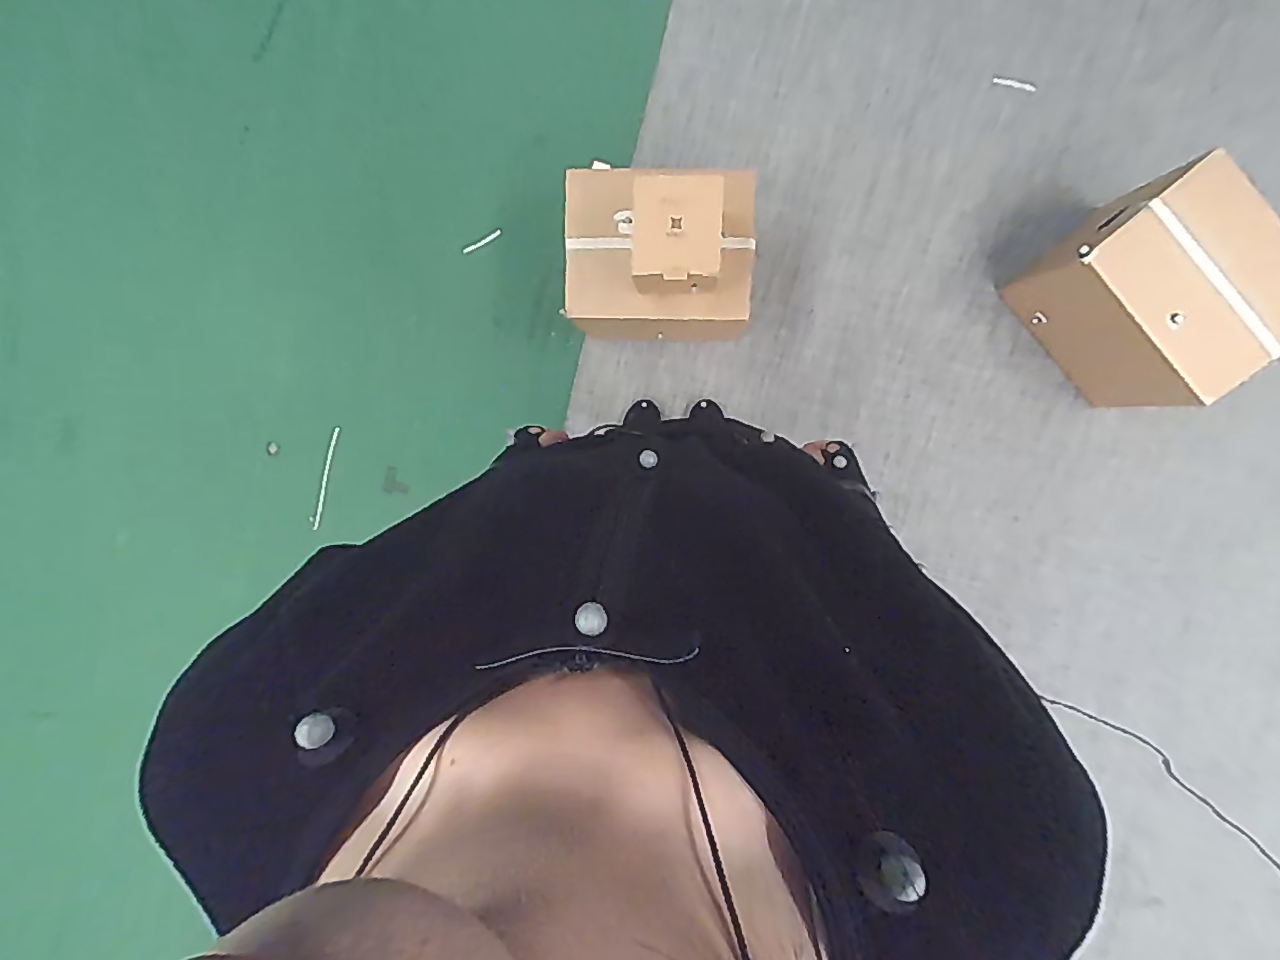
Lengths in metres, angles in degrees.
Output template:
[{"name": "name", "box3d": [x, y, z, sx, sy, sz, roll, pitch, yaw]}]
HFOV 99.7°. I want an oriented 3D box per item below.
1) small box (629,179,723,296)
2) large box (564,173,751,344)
[{"name": "small box", "box3d": [0.071, -0.463, 1.055, 0.168, 0.176, 0.179, 2, 97, 4]}, {"name": "large box", "box3d": [0.049, -0.503, 1.301, 0.408, 0.320, 0.320, 2, 95, 6]}]
